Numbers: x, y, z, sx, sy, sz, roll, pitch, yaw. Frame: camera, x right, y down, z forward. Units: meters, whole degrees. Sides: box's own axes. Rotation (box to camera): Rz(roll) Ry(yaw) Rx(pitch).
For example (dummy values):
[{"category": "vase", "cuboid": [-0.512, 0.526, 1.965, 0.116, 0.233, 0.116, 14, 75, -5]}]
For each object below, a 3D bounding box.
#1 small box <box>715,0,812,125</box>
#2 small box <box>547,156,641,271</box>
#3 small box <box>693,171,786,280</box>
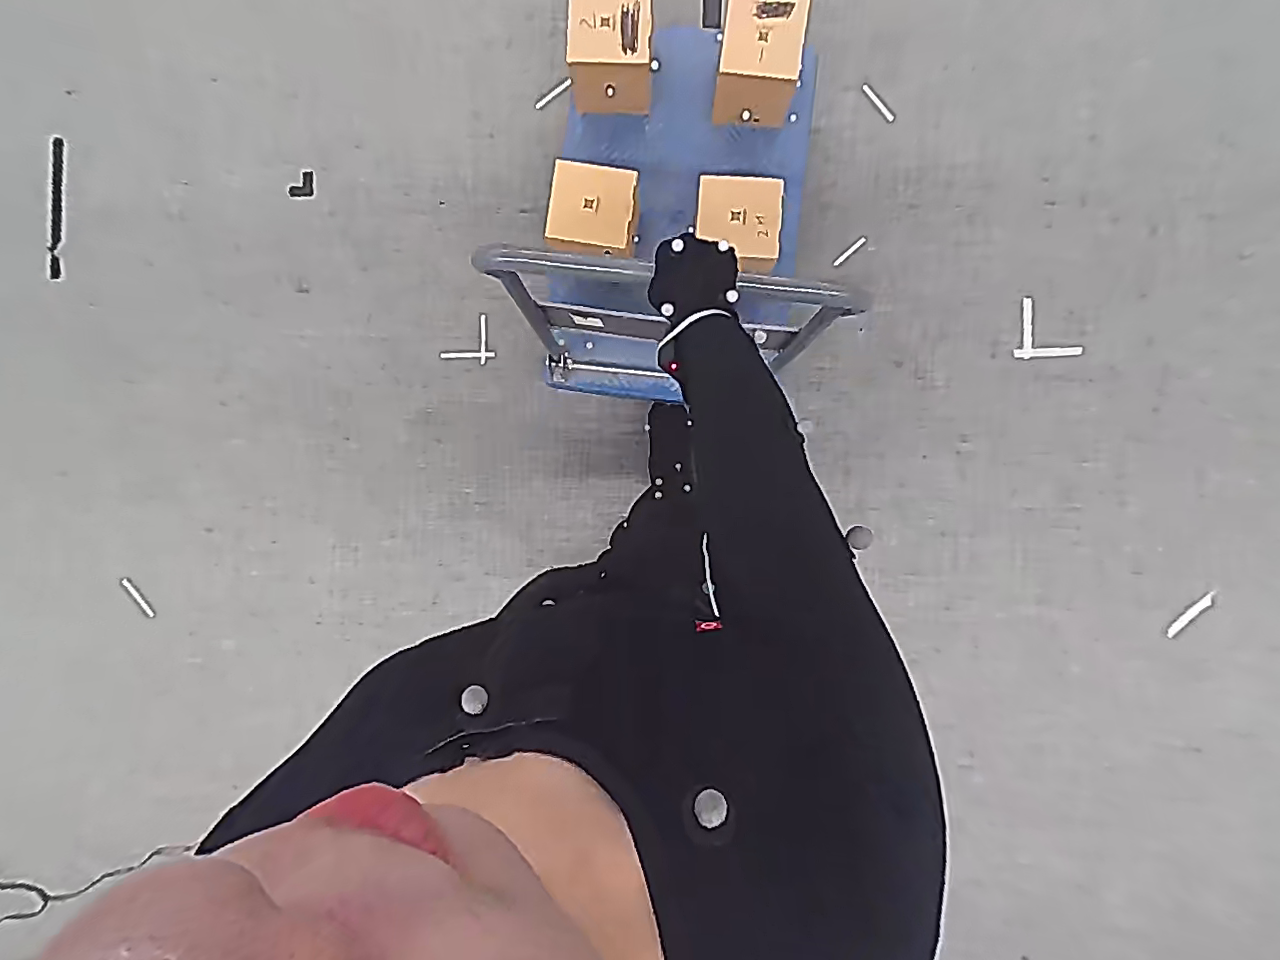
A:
[{"category": "small box", "cuboid": [0.260, -0.924, 1.181, 0.168, 0.176, 0.179, 8, 93, 2]}, {"category": "small box", "cuboid": [-0.097, -0.584, 1.206, 0.179, 0.176, 0.168, 9, 92, 0]}, {"category": "small box", "cuboid": [0.211, -0.553, 1.196, 0.179, 0.176, 0.168, 4, 92, 2]}]
